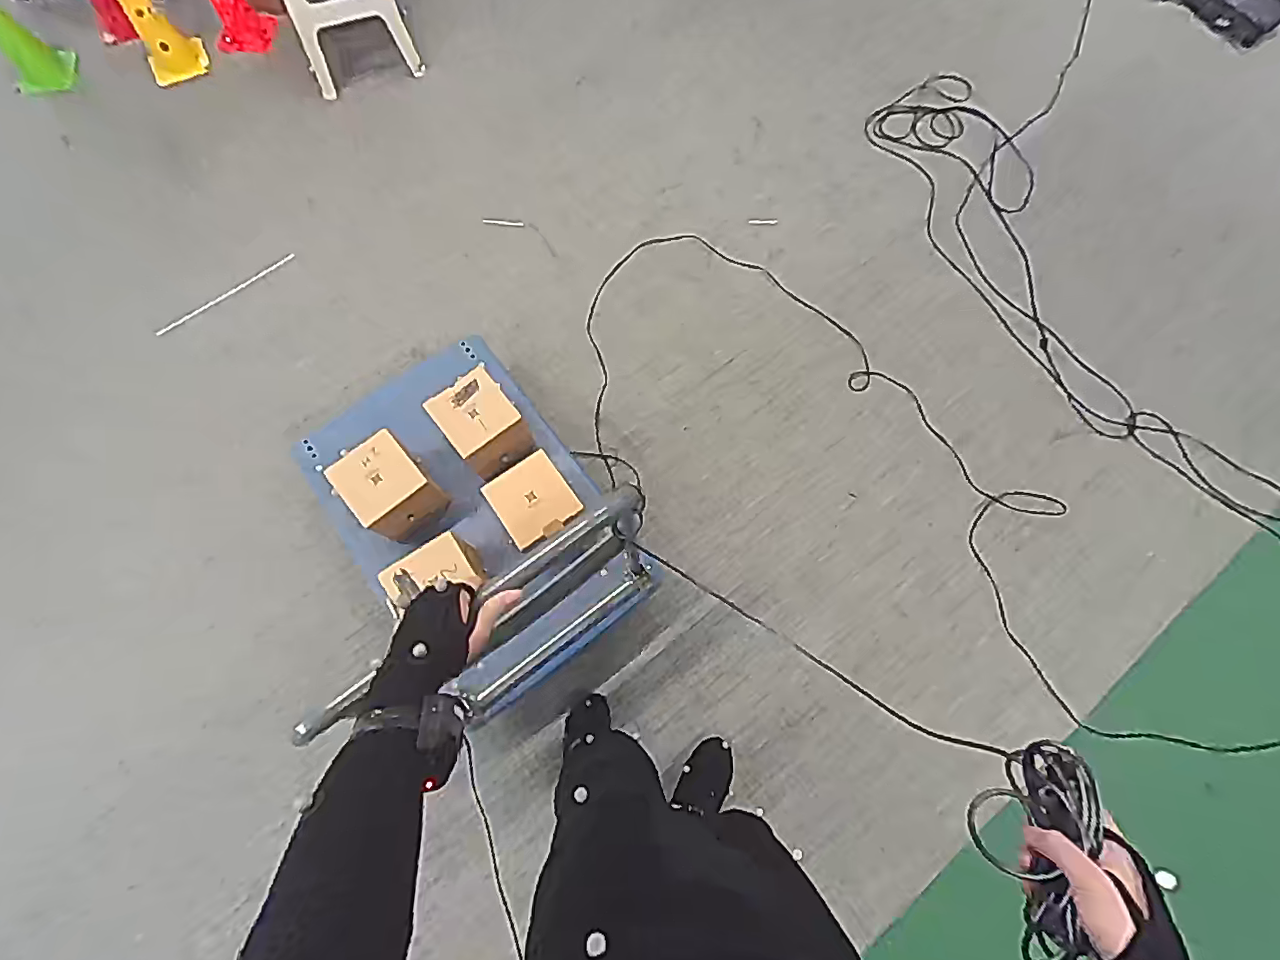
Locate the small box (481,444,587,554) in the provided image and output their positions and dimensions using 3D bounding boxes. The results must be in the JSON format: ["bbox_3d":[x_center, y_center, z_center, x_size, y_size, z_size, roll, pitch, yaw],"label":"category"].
[{"bbox_3d":[-0.239,0.050,1.262,0.168,0.176,0.179,-35,77,-10],"label":"small box"}]

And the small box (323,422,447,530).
[{"bbox_3d":[-0.588,0.000,1.273,0.168,0.176,0.179,-39,77,-12],"label":"small box"}]

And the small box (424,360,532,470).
[{"bbox_3d":[-0.387,-0.152,1.321,0.168,0.176,0.179,-38,77,-10],"label":"small box"}]
